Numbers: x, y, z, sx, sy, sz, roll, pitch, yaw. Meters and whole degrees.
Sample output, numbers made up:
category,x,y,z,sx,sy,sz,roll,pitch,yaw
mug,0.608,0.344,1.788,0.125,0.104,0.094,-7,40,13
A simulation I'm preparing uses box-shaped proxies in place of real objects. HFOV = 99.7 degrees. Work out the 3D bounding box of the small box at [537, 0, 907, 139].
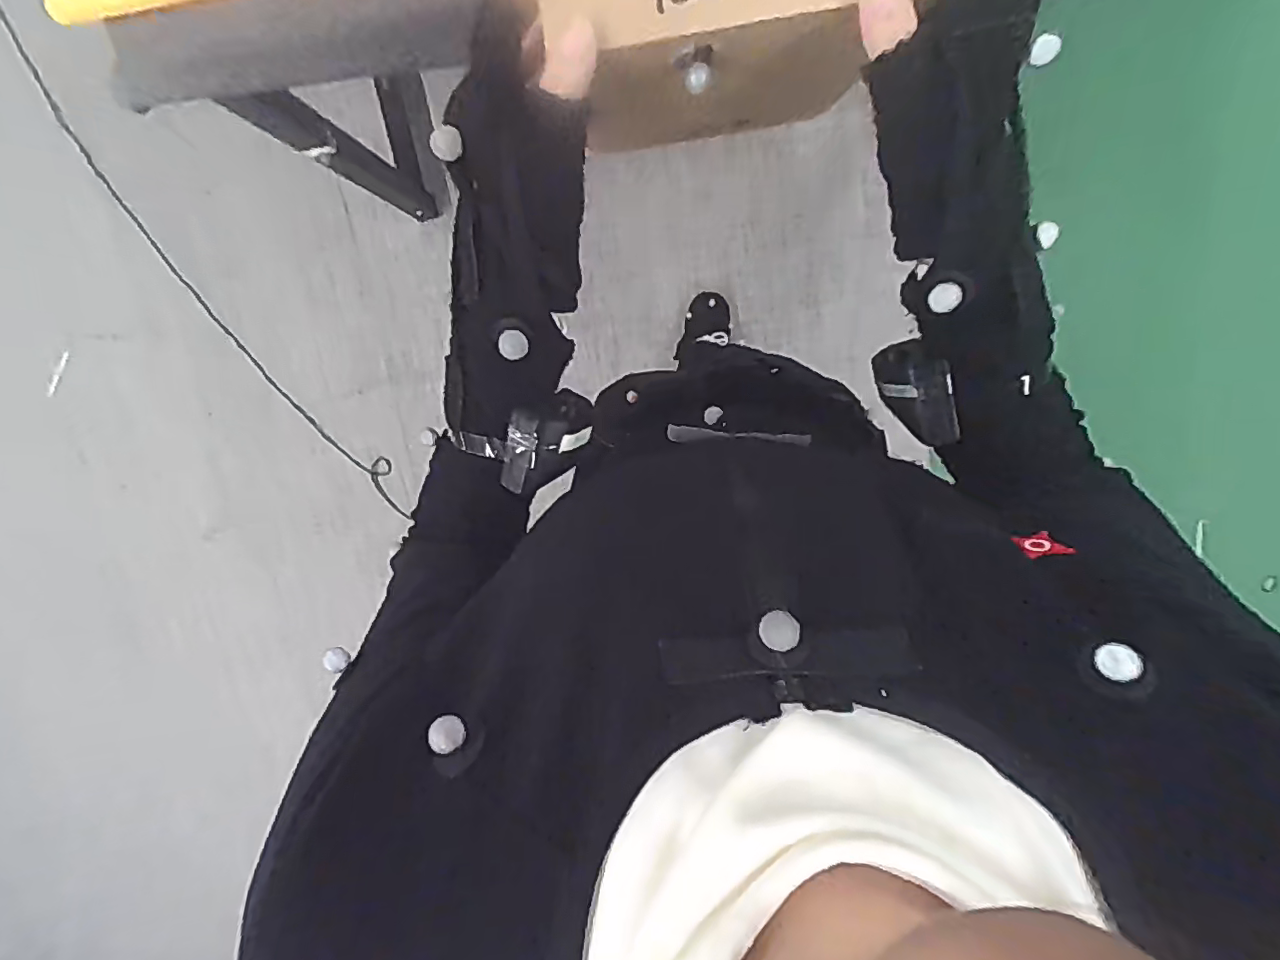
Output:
category,x,y,z,sx,sy,sz,roll,pitch,yaw
small box,0.029,-0.300,0.266,0.168,0.176,0.179,-7,108,4
